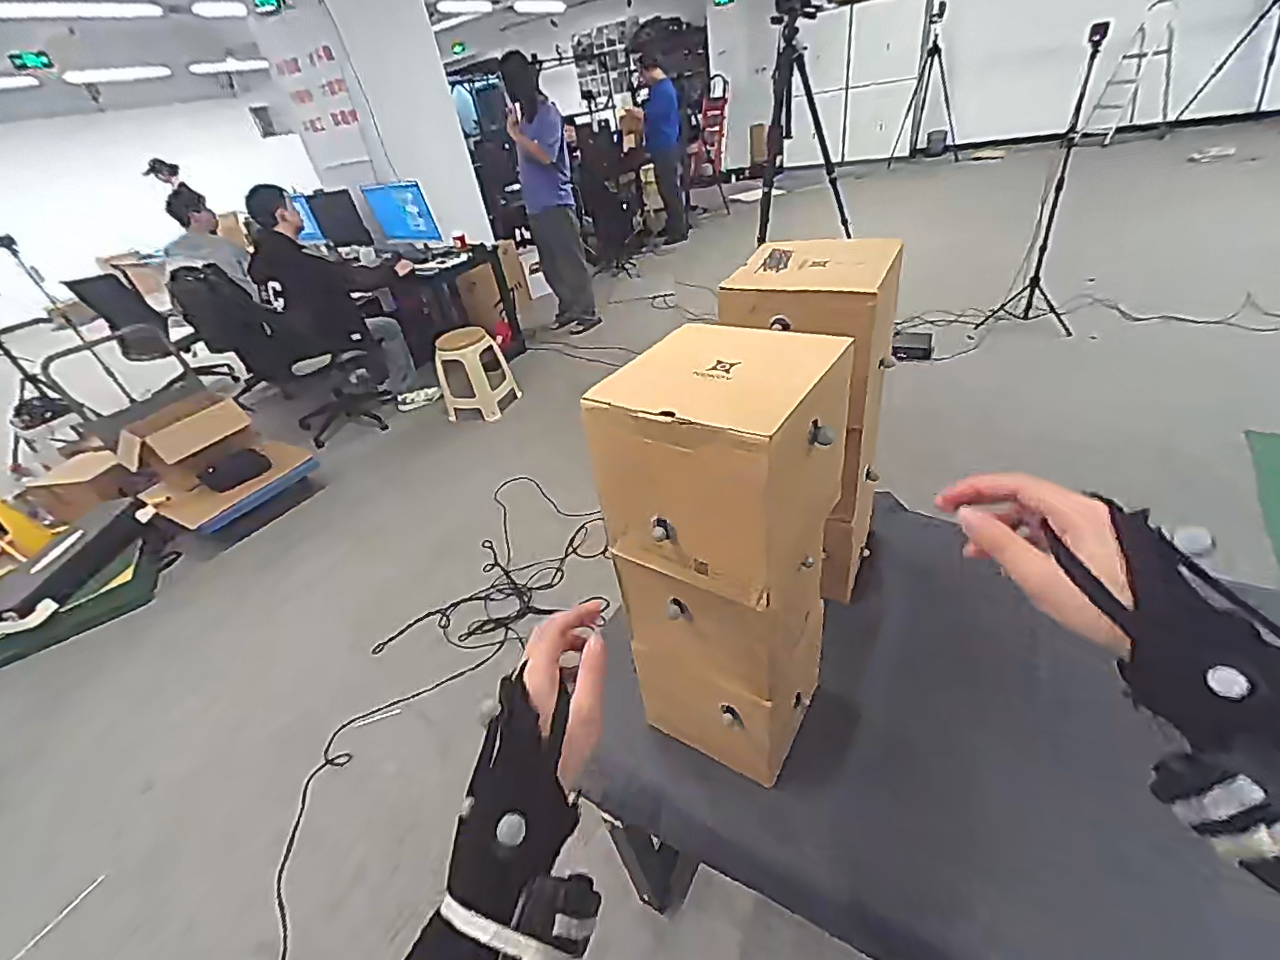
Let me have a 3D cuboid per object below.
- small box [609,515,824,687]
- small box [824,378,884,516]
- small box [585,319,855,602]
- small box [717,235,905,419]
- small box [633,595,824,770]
[{"bbox_3d":[0.092,0.095,0.596,0.179,0.176,0.168,12,40,29],"label":"small box"},{"bbox_3d":[0.241,-0.069,0.782,0.179,0.176,0.168,12,44,26],"label":"small box"},{"bbox_3d":[0.076,-0.027,0.486,0.168,0.176,0.179,16,43,31],"label":"small box"},{"bbox_3d":[0.213,-0.192,0.676,0.179,0.176,0.168,13,44,28],"label":"small box"},{"bbox_3d":[0.116,0.230,0.685,0.179,0.176,0.168,15,41,31],"label":"small box"}]
